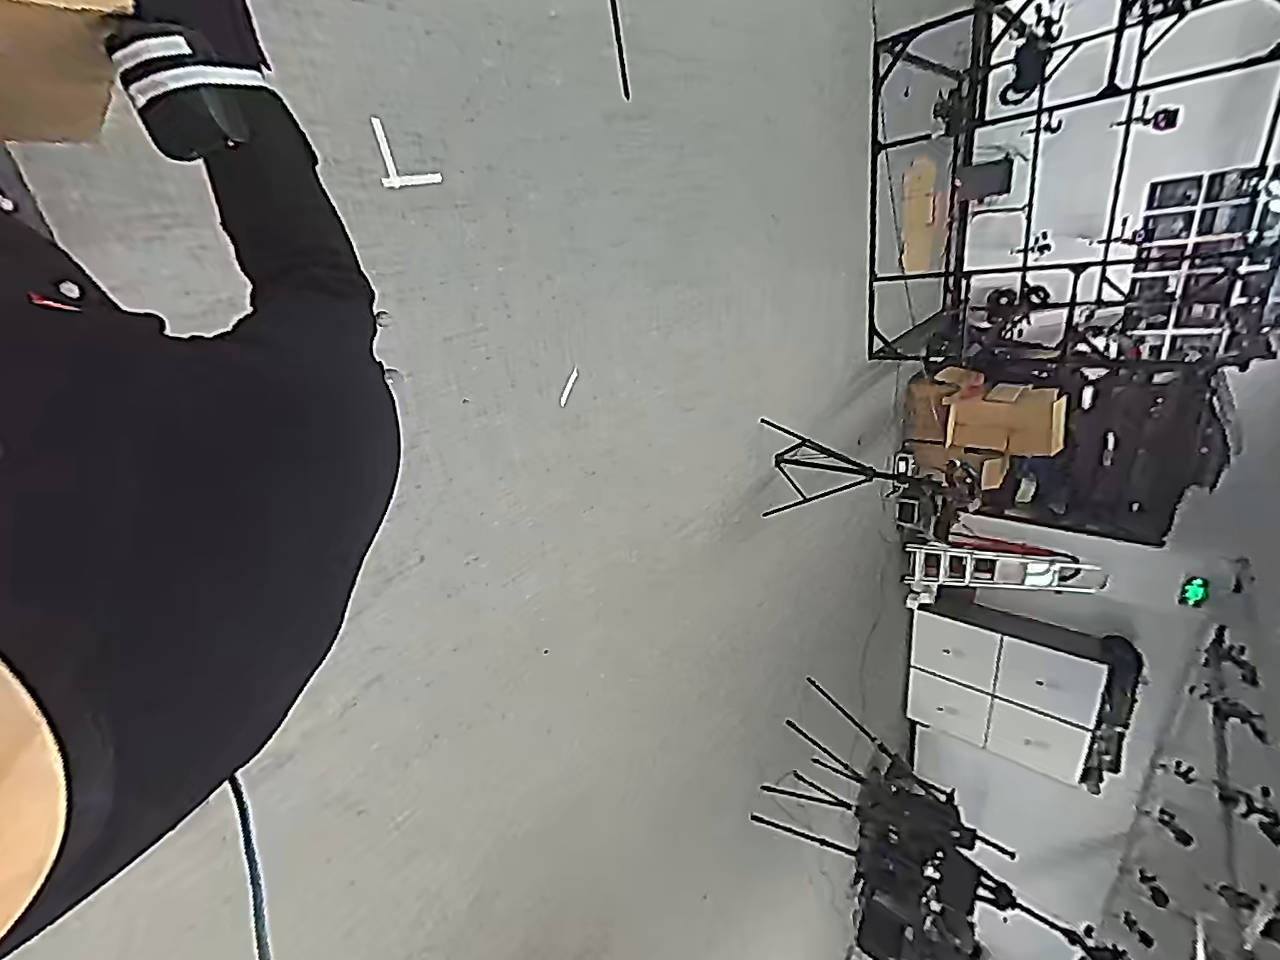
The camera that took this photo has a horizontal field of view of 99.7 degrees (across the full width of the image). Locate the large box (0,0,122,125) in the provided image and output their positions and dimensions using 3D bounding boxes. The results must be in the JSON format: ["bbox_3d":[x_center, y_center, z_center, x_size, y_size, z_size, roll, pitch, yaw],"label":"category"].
[{"bbox_3d":[-0.570,-0.383,0.239,0.408,0.320,0.320,-29,121,-41],"label":"large box"}]
